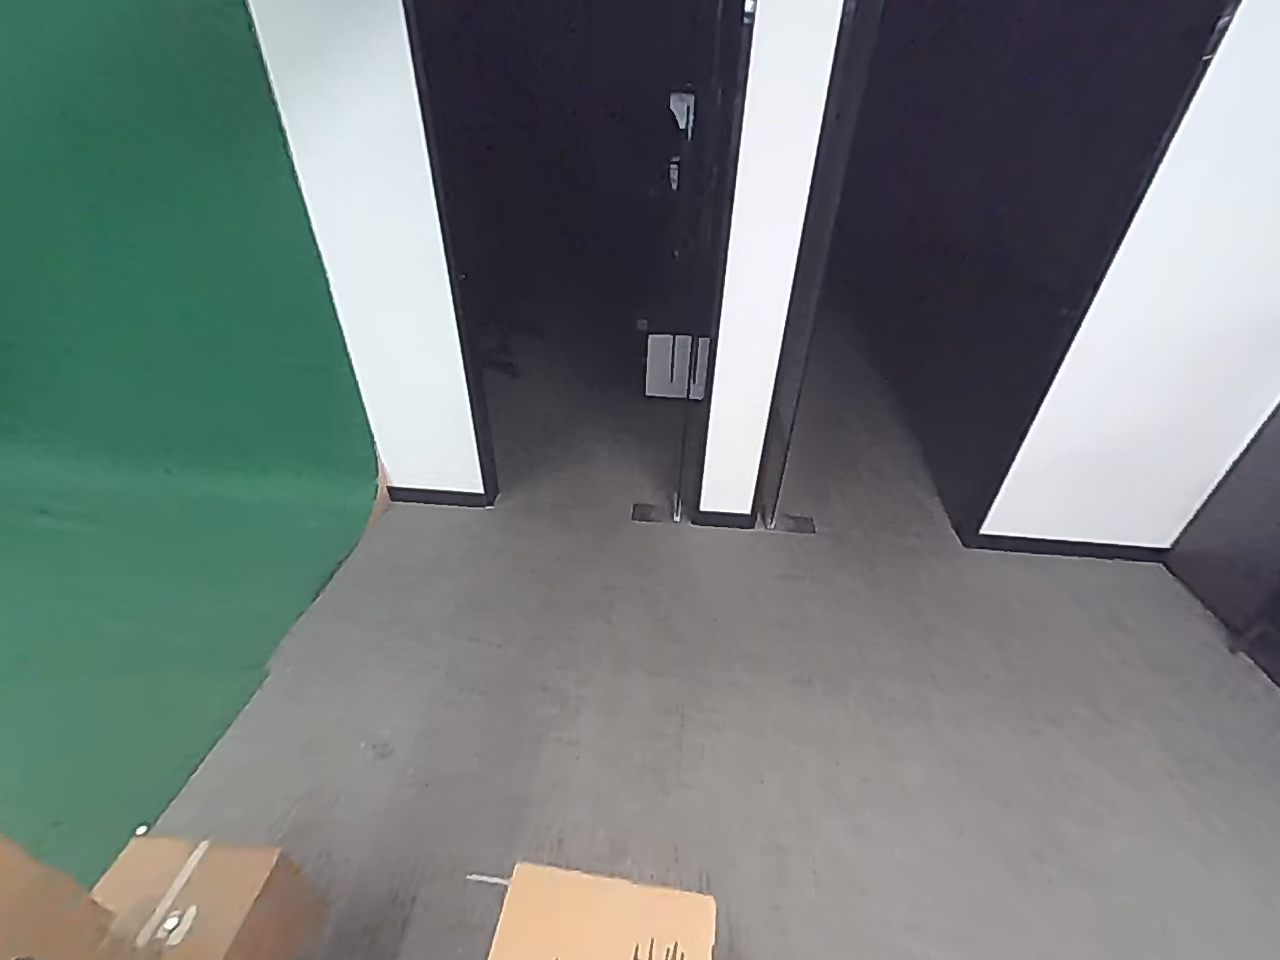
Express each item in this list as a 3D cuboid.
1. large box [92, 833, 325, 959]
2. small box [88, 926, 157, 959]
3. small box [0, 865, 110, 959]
[{"bbox_3d":[-0.880,0.957,1.005,0.320,0.320,0.408,4,33,3],"label":"large box"},{"bbox_3d":[-0.895,0.792,0.812,0.179,0.176,0.168,3,33,2],"label":"small box"},{"bbox_3d":[-0.889,0.652,0.726,0.168,0.176,0.179,1,33,-2],"label":"small box"}]
